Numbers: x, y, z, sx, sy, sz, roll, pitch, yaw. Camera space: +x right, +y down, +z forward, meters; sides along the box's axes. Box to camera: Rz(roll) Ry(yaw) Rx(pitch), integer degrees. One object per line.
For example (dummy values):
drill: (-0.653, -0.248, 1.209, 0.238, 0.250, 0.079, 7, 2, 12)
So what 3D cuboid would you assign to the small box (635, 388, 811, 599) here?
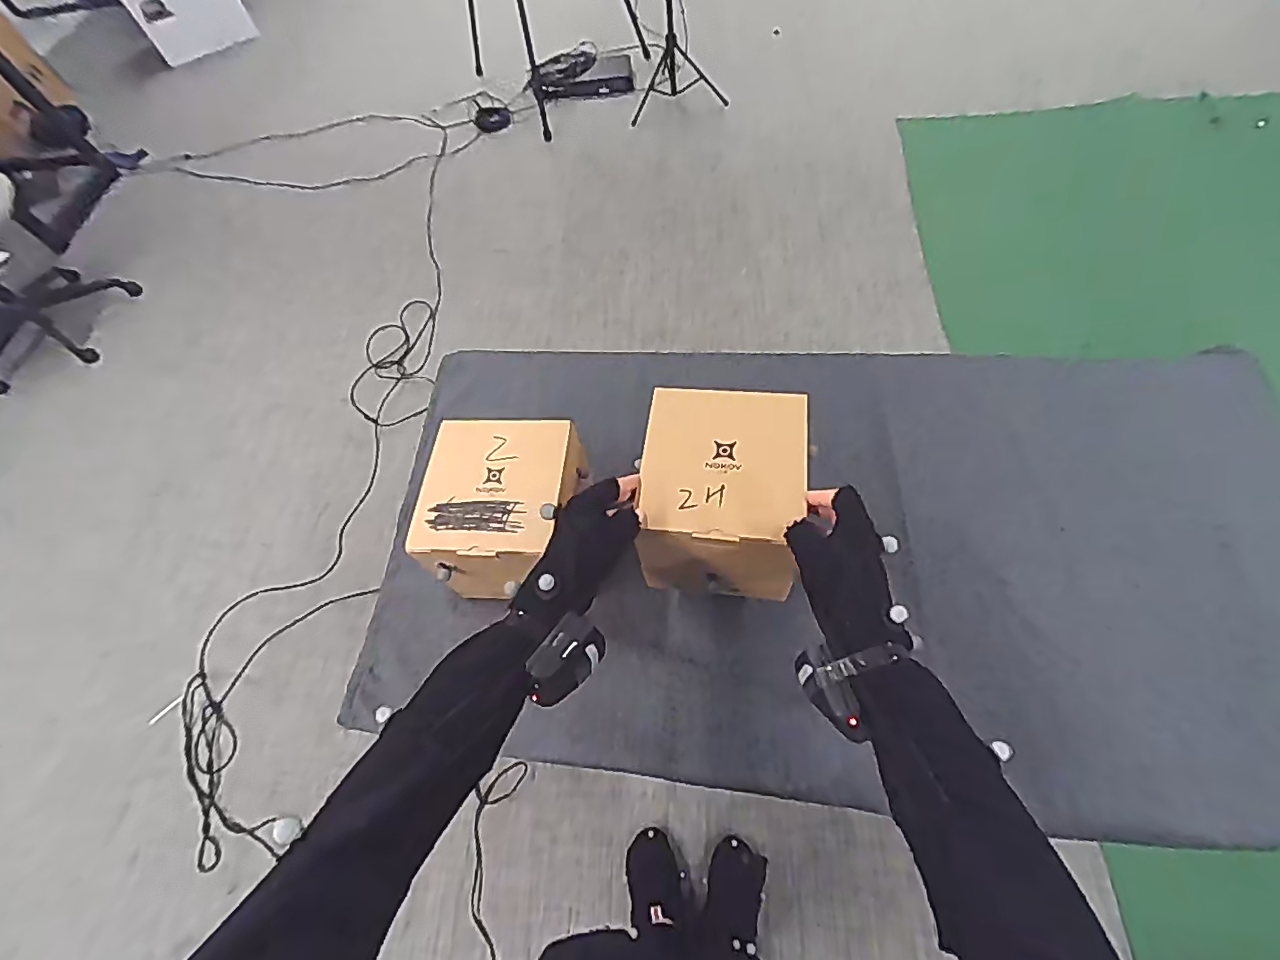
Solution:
small box: (0.096, 0.019, 0.616, 0.168, 0.176, 0.179, 4, 62, 10)
